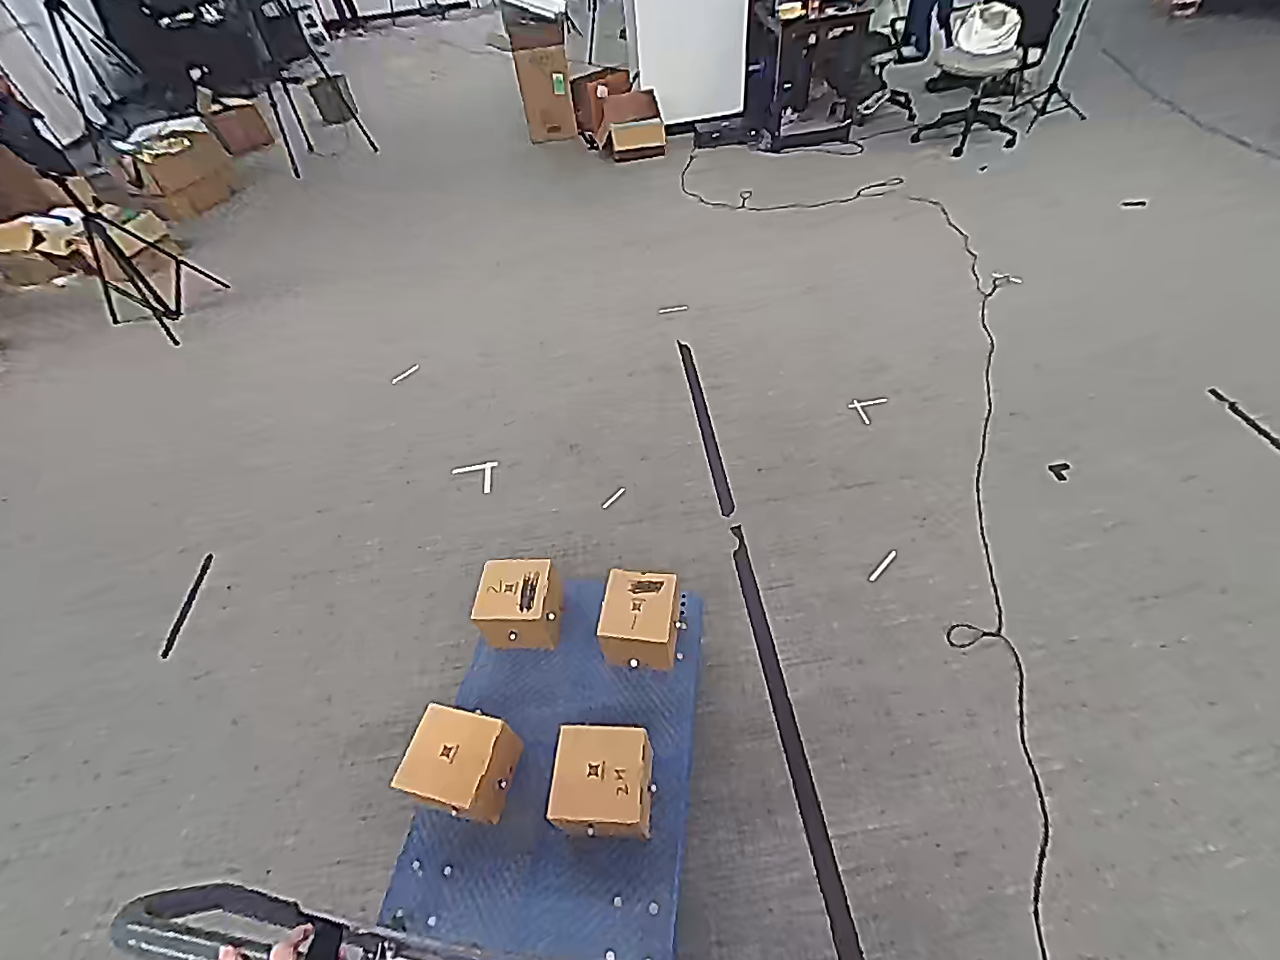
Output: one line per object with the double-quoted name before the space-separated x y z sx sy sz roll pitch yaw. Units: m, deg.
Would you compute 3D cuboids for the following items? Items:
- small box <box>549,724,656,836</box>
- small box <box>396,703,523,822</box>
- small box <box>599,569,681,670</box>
"small box" -0.067 0.609 1.094 0.179 0.176 0.168 -1 49 7
"small box" -0.371 0.601 1.145 0.179 0.176 0.168 8 49 12
"small box" 0.008 0.341 1.321 0.168 0.176 0.179 3 50 11
